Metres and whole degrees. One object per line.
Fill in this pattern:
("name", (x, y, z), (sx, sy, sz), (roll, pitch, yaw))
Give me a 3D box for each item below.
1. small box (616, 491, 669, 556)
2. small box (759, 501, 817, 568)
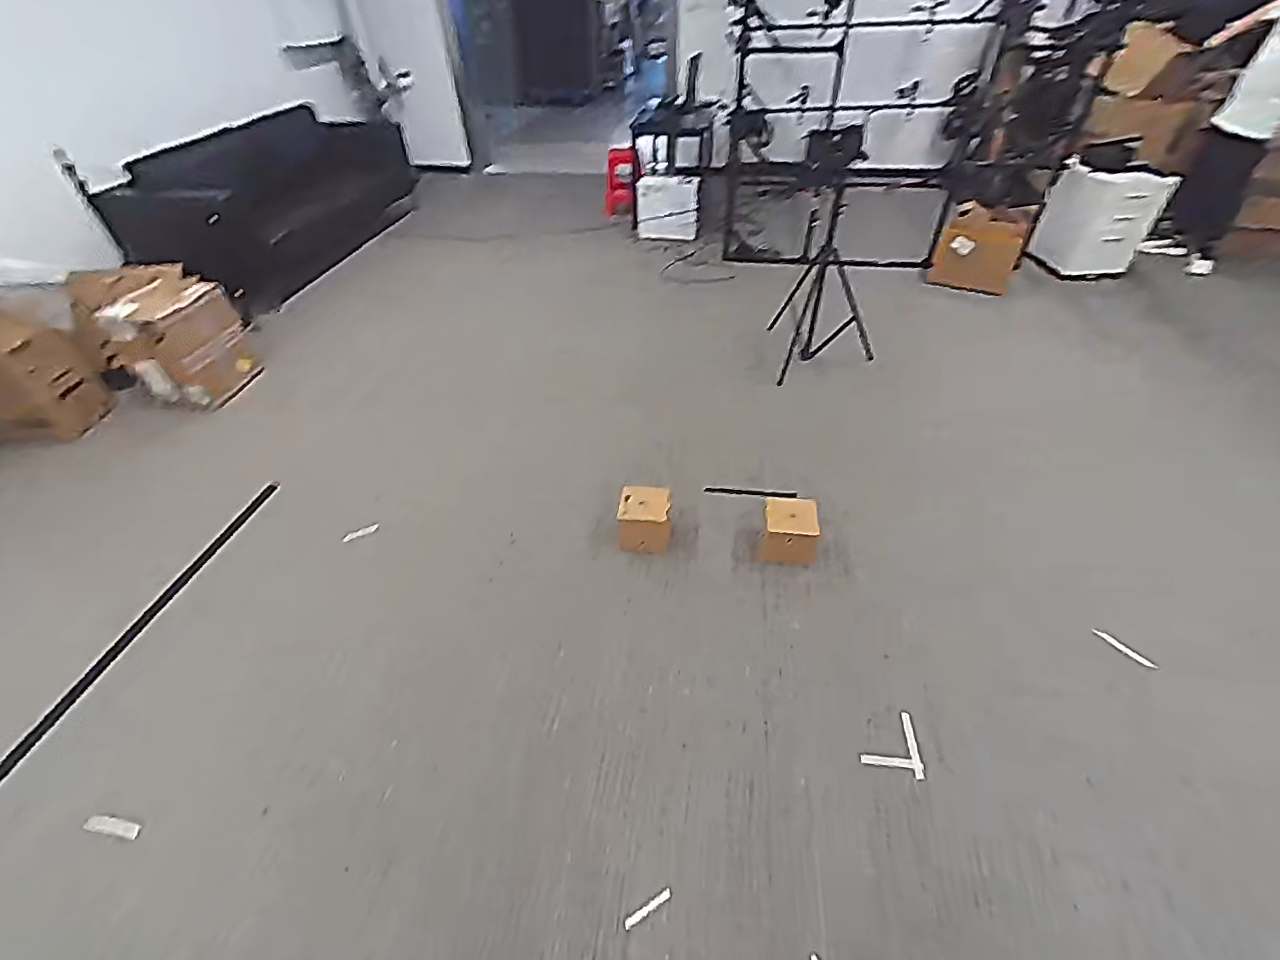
("small box", (0.013, 0.163, 1.986), (0.179, 0.176, 0.168), (4, 43, 7))
("small box", (0.521, 0.196, 1.926), (0.179, 0.176, 0.168), (4, 44, 6))
